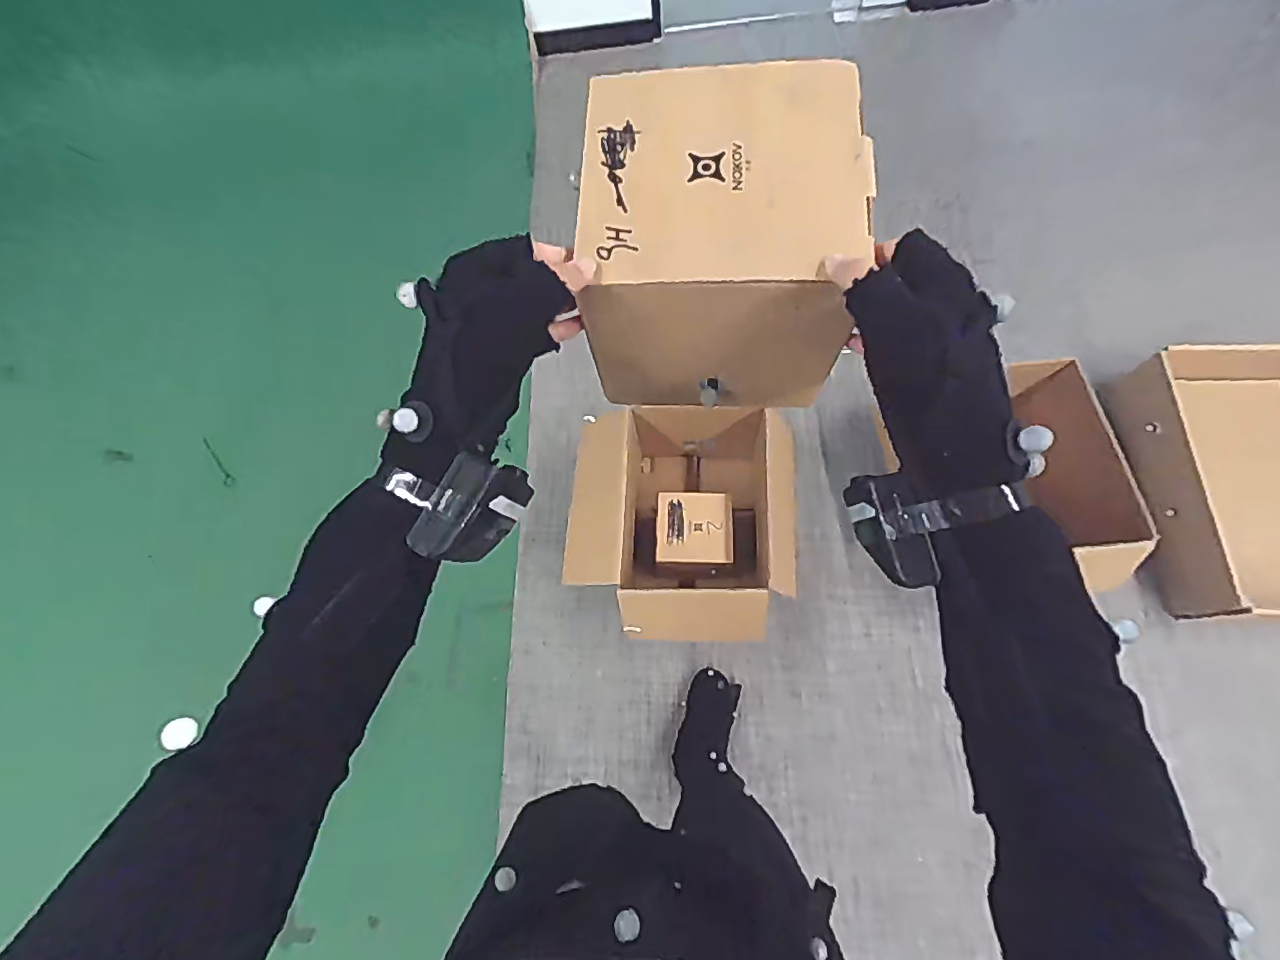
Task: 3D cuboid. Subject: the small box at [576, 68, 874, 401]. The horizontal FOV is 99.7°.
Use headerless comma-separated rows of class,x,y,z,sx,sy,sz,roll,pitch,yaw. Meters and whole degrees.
small box,0.058,-0.169,0.413,0.179,0.176,0.168,2,73,5
